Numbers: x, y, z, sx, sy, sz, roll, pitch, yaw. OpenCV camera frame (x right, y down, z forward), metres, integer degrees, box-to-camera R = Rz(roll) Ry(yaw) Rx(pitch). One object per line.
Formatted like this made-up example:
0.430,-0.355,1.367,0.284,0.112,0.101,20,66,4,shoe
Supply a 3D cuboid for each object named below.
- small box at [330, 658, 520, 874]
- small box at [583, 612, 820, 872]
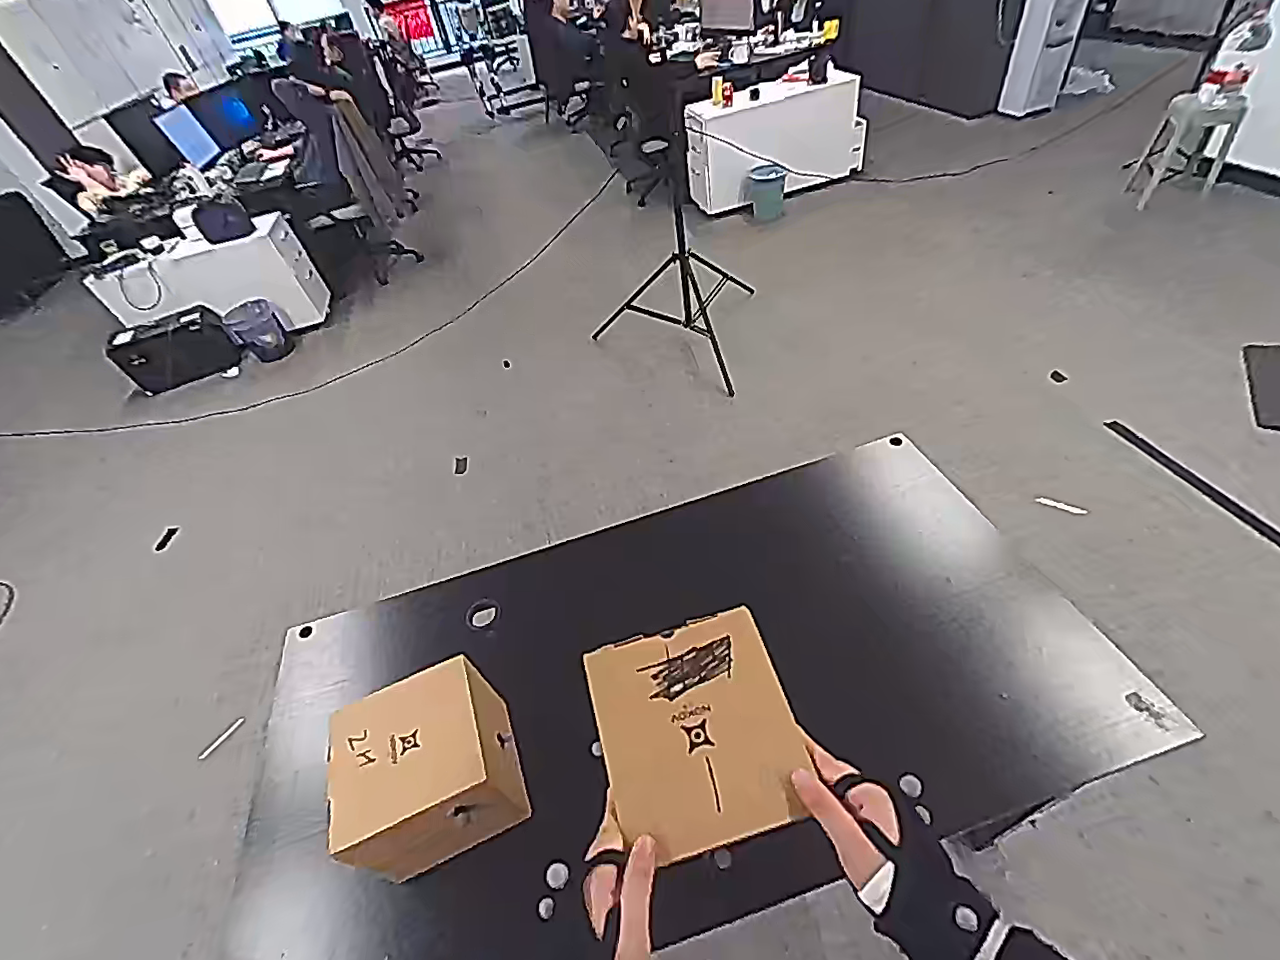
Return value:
-0.266,0.367,0.695,0.179,0.176,0.168,-23,46,-9,small box
0.050,0.260,0.536,0.168,0.176,0.179,-16,57,-5,small box
